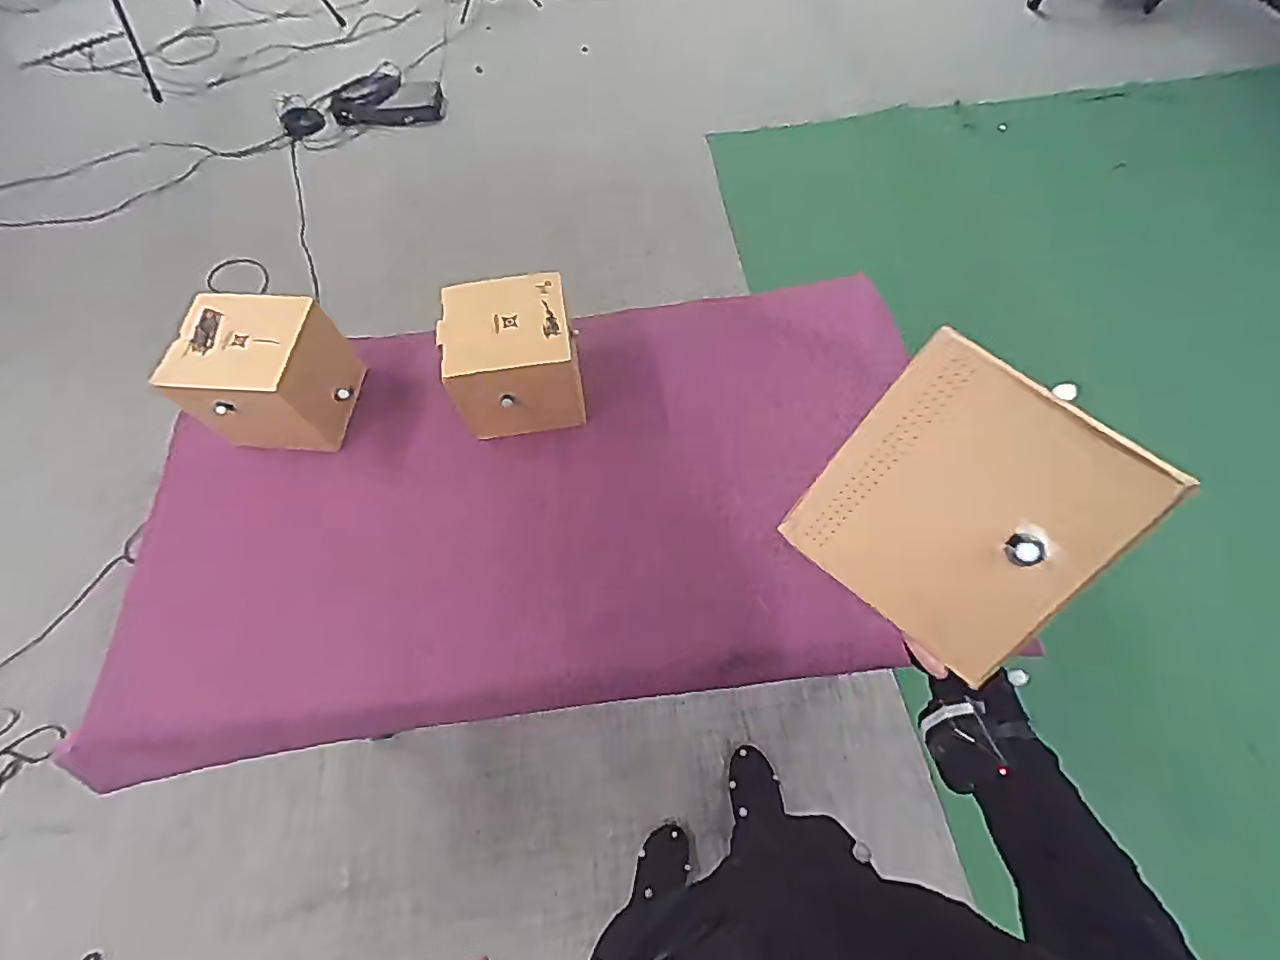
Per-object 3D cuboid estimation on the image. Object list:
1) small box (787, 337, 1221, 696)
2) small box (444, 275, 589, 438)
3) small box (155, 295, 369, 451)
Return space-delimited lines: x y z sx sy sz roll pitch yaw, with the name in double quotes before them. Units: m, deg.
"small box" 0.239 0.014 0.411 0.176 0.168 0.179 40 110 13
"small box" -0.181 -0.178 0.820 0.179 0.176 0.168 -9 65 -2
"small box" -0.550 -0.155 0.816 0.179 0.176 0.168 3 64 2
